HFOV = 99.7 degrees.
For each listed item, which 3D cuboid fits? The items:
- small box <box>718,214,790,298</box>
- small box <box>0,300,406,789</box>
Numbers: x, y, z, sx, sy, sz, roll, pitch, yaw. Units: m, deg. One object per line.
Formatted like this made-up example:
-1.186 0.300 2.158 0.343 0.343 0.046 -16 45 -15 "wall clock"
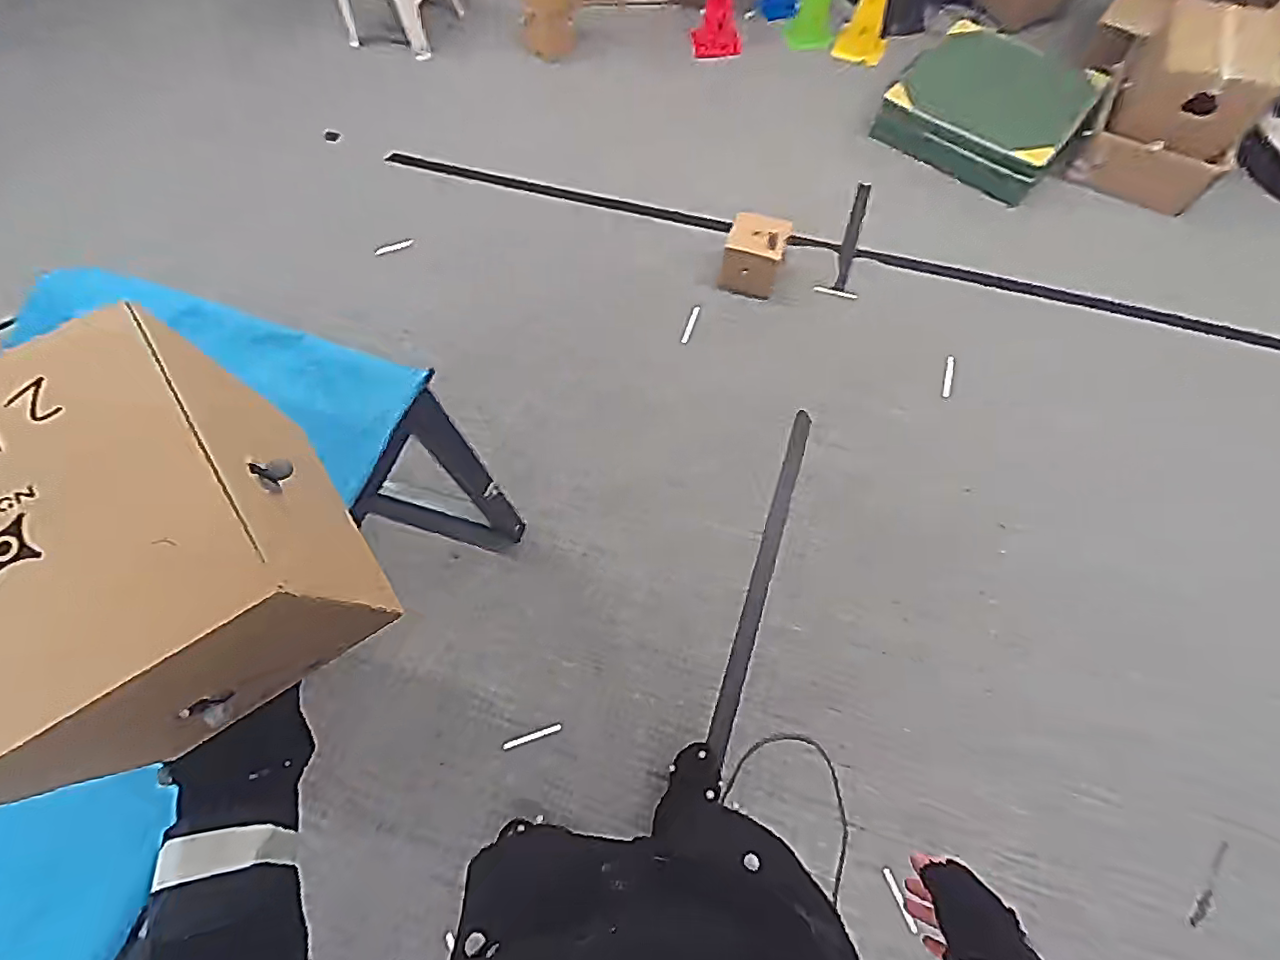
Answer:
0.363 -0.717 1.746 0.179 0.176 0.168 19 68 10 "small box"
-0.268 0.040 0.316 0.168 0.176 0.179 -31 79 -14 "small box"
